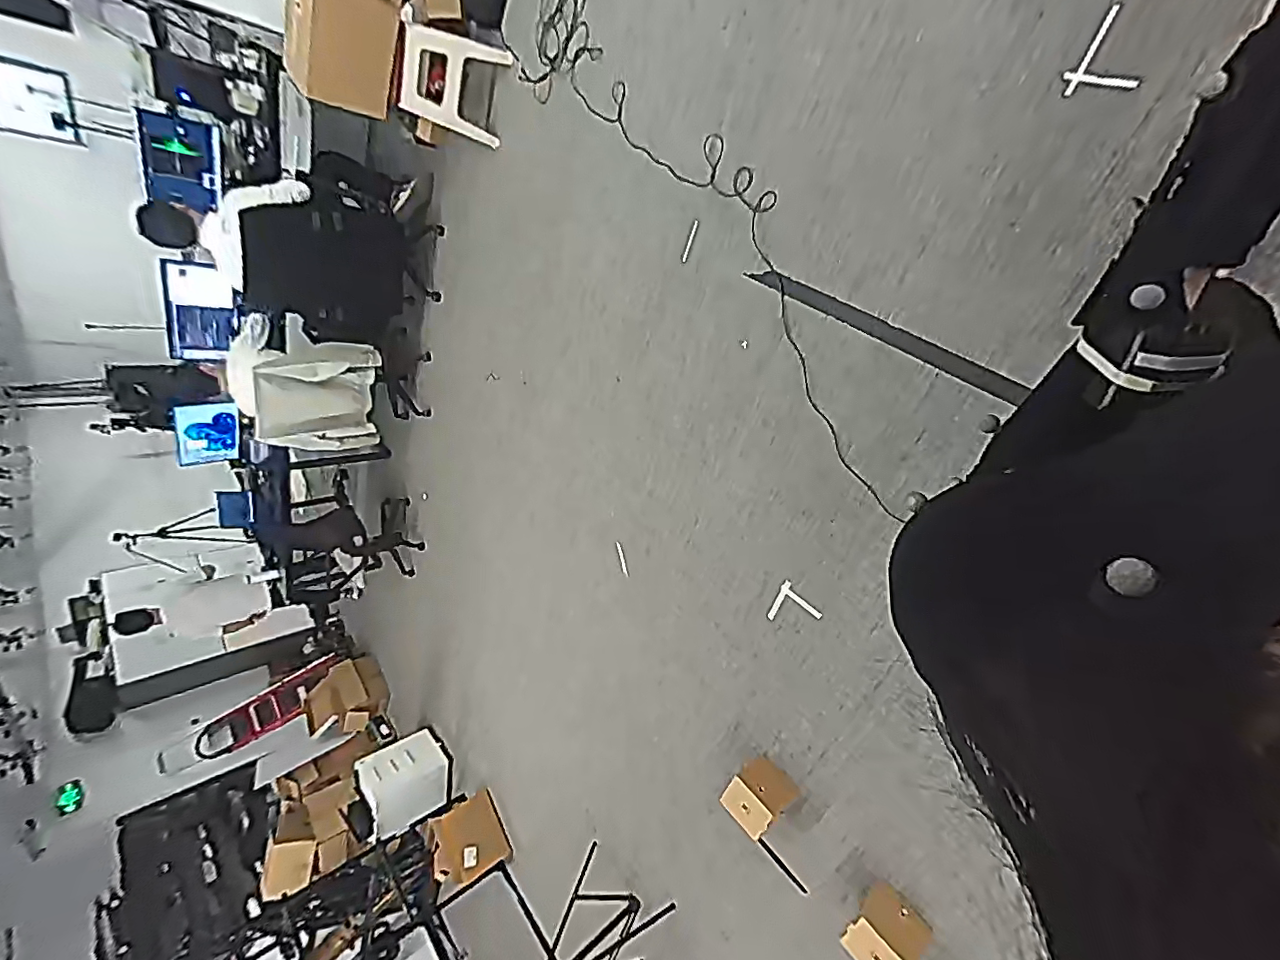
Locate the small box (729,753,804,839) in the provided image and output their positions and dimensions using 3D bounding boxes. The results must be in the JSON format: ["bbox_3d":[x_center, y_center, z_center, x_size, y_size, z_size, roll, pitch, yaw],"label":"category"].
[{"bbox_3d":[0.461,1.136,1.956,0.179,0.176,0.168,40,124,34],"label":"small box"}]

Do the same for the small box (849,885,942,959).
[{"bbox_3d":[0.791,1.407,1.674,0.179,0.176,0.168,39,125,34],"label":"small box"}]
